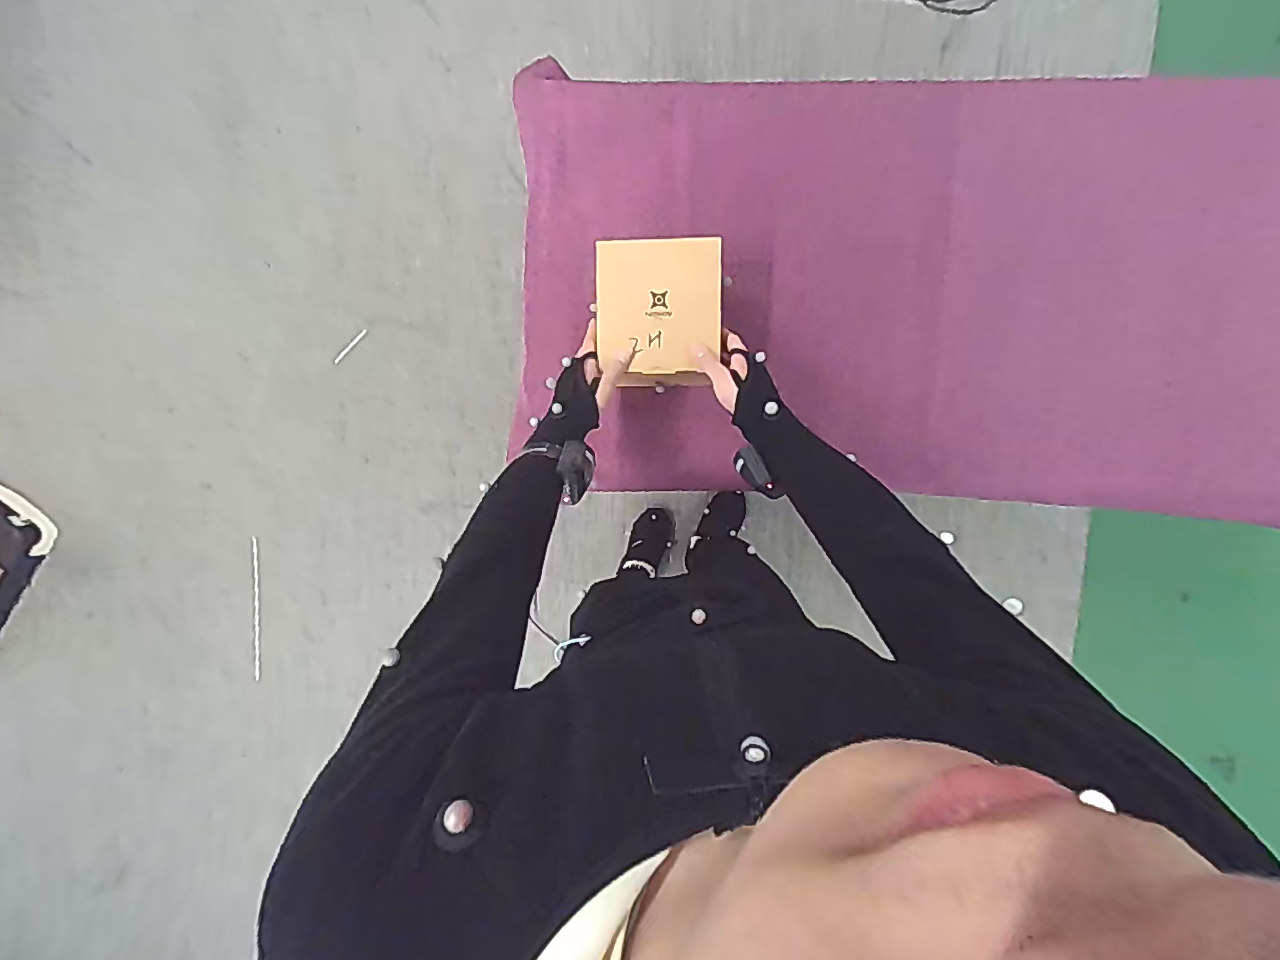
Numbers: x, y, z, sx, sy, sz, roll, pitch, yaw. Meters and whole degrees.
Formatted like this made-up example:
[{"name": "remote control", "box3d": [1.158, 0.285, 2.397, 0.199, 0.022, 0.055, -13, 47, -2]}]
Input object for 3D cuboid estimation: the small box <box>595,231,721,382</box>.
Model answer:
[{"name": "small box", "box3d": [0.027, -0.241, 0.785, 0.168, 0.176, 0.179, 1, 95, 5]}]
